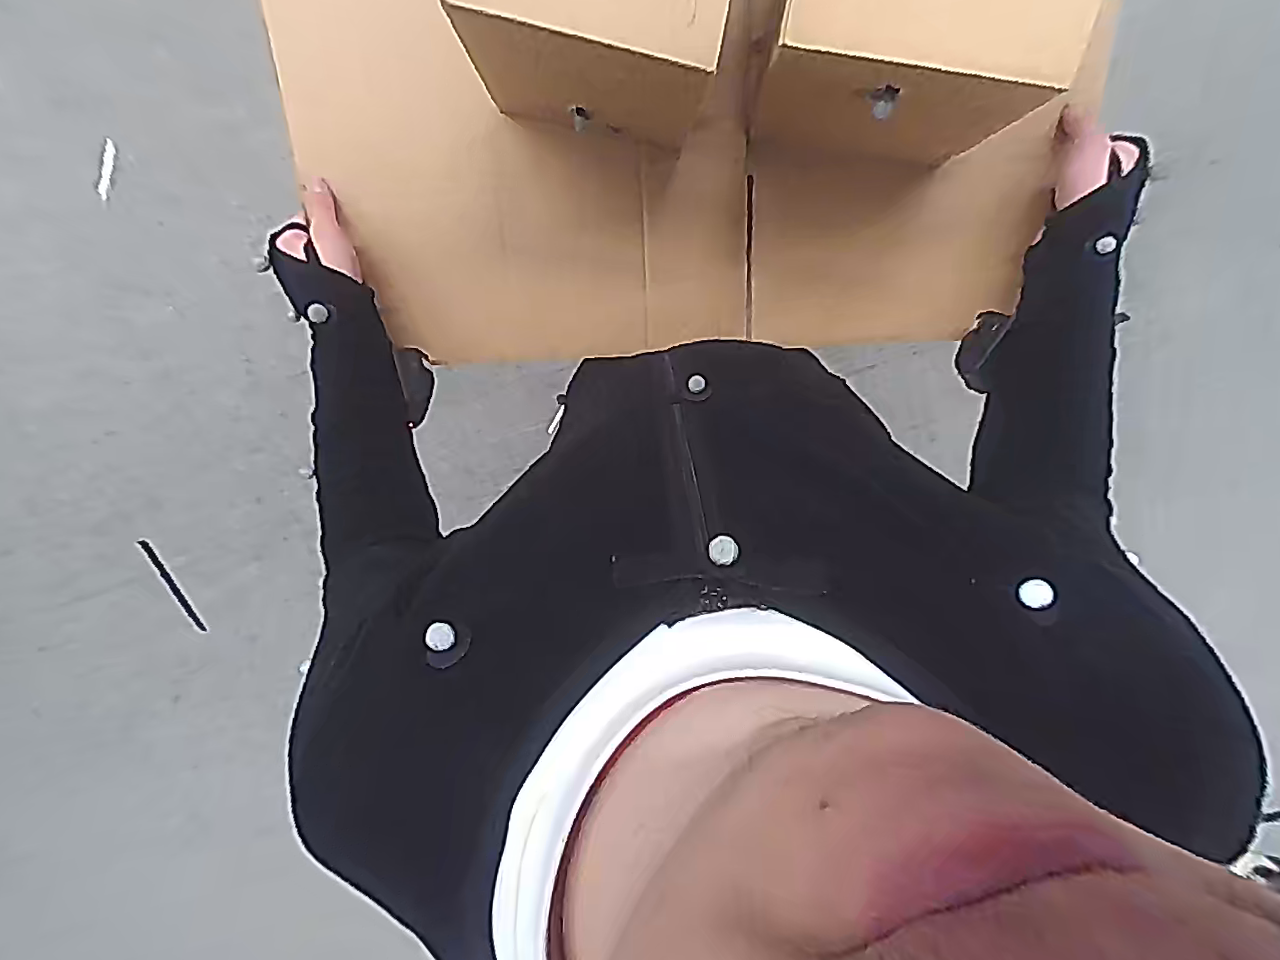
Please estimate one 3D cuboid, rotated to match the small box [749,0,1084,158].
[{"bbox_3d":[0.188,-0.351,0.388,0.179,0.176,0.168,10,107,2],"label":"small box"}]
